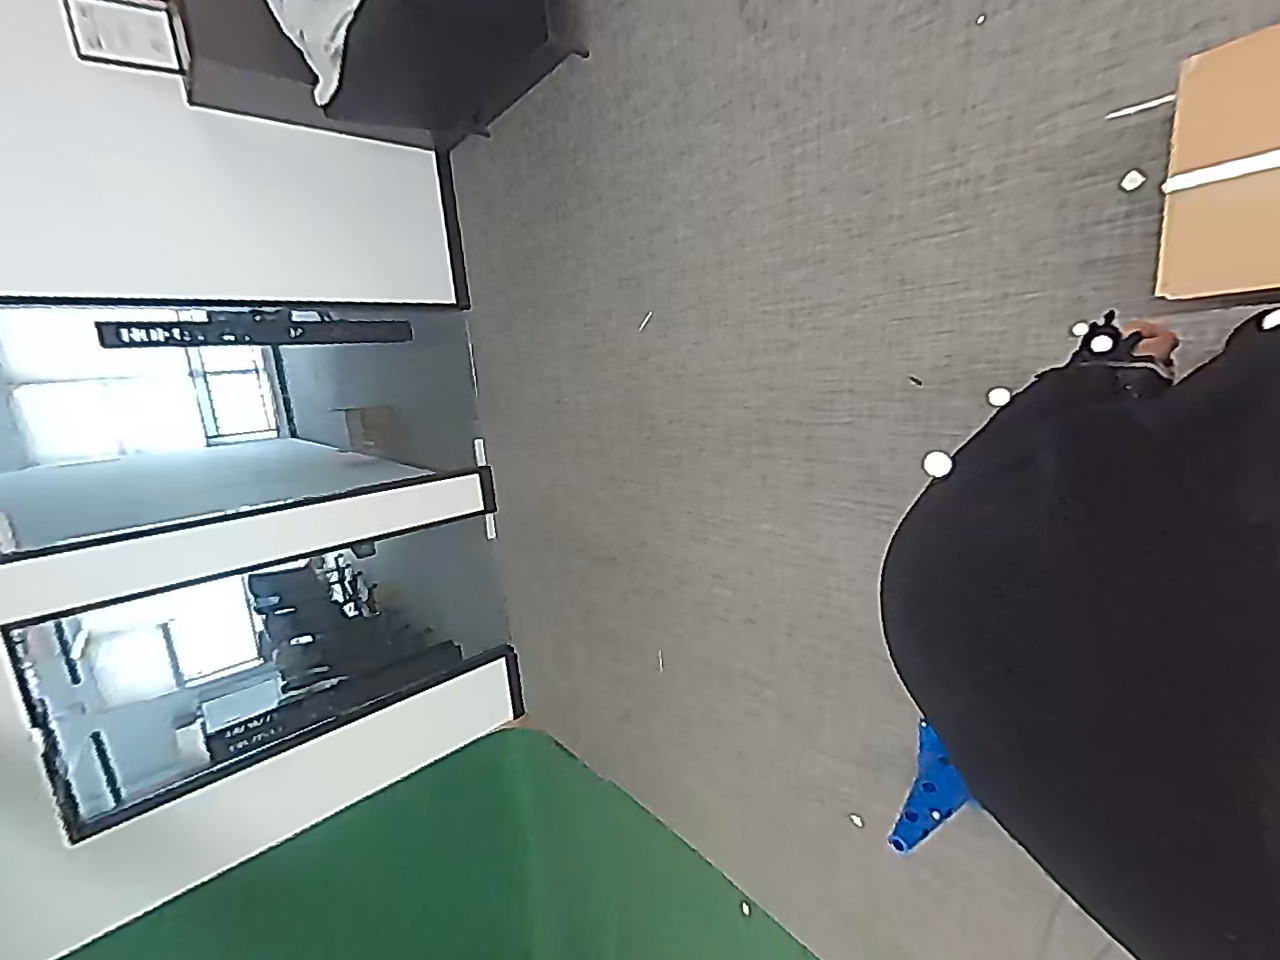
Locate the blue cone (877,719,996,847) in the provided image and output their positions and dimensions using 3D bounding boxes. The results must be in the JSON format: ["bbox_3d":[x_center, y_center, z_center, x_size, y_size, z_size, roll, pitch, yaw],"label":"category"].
[{"bbox_3d":[0.696,0.769,1.313,0.192,0.380,0.193,11,108,49],"label":"blue cone"}]
